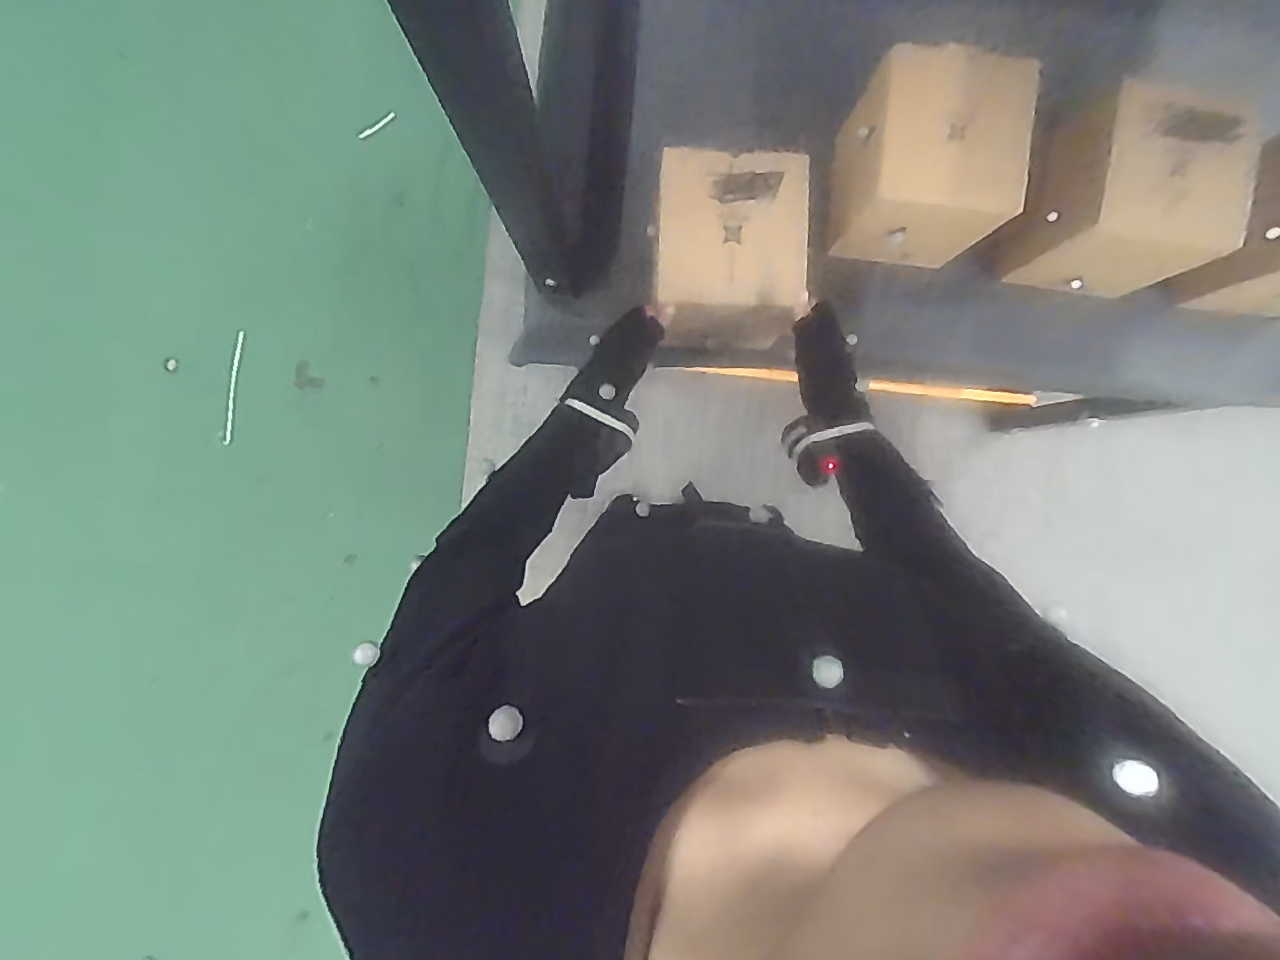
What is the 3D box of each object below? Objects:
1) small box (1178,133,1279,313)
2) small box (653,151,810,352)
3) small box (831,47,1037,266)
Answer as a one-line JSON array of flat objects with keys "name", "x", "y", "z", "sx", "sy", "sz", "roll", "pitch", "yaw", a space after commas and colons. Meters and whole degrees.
[{"name": "small box", "x": 0.843, "y": -0.325, "z": 0.682, "sx": 0.168, "sy": 0.176, "sz": 0.179, "roll": 5, "pitch": 89, "yaw": 0}, {"name": "small box", "x": 0.104, "y": -0.273, "z": 0.679, "sx": 0.168, "sy": 0.176, "sz": 0.179, "roll": 2, "pitch": 88, "yaw": 0}, {"name": "small box", "x": 0.355, "y": -0.392, "z": 0.685, "sx": 0.168, "sy": 0.176, "sz": 0.179, "roll": 6, "pitch": 89, "yaw": 0}]
